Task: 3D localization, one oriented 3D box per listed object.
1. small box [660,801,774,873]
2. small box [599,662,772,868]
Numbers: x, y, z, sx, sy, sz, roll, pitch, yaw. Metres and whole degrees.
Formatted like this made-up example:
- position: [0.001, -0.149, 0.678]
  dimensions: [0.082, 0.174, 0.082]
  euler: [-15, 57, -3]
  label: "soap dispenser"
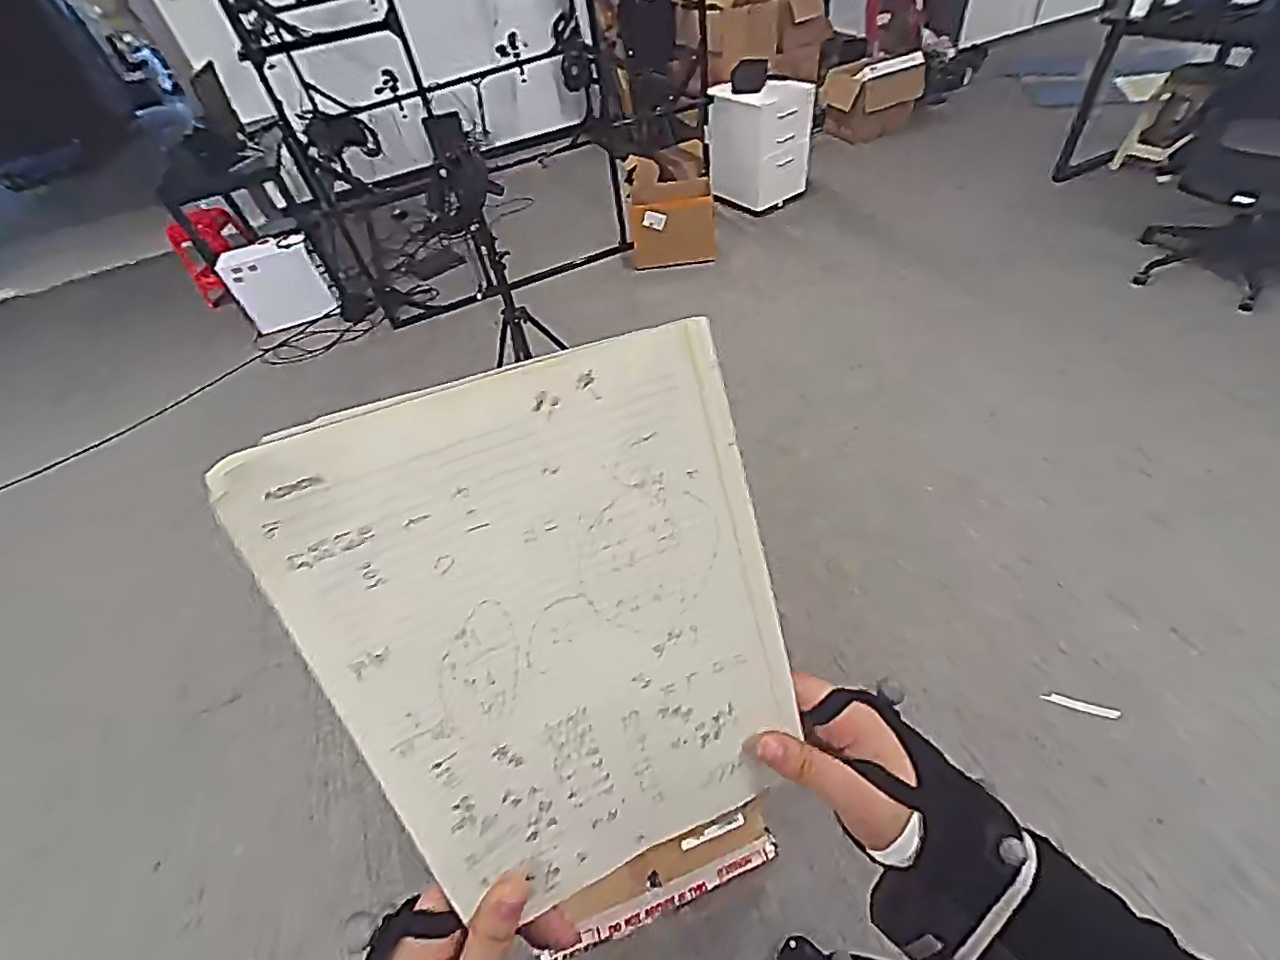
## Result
- position: [0.083, 0.474, 0.837]
  dimensions: [0.179, 0.176, 0.168]
  euler: [-20, 49, -10]
  label: "small box"
- position: [0.052, 0.374, 0.709]
  dimensions: [0.168, 0.176, 0.179]
  euler: [-16, 50, -8]
  label: "small box"
